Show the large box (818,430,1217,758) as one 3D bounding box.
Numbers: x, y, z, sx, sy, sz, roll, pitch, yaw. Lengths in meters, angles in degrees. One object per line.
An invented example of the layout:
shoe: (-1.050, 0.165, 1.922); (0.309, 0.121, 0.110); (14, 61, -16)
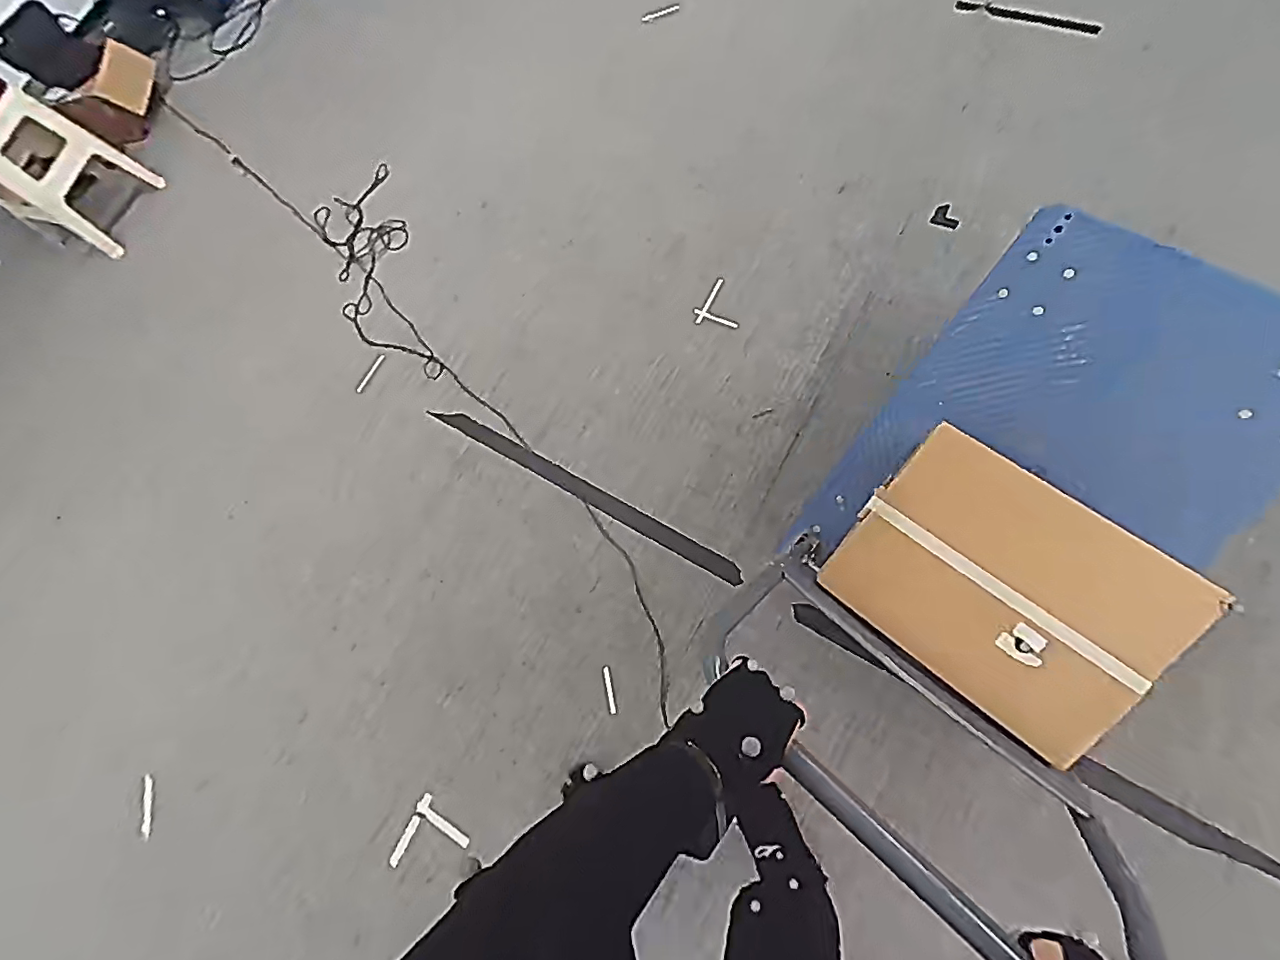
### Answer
large box: (0.572, 0.161, 0.928); (0.408, 0.320, 0.320); (39, 103, 19)
